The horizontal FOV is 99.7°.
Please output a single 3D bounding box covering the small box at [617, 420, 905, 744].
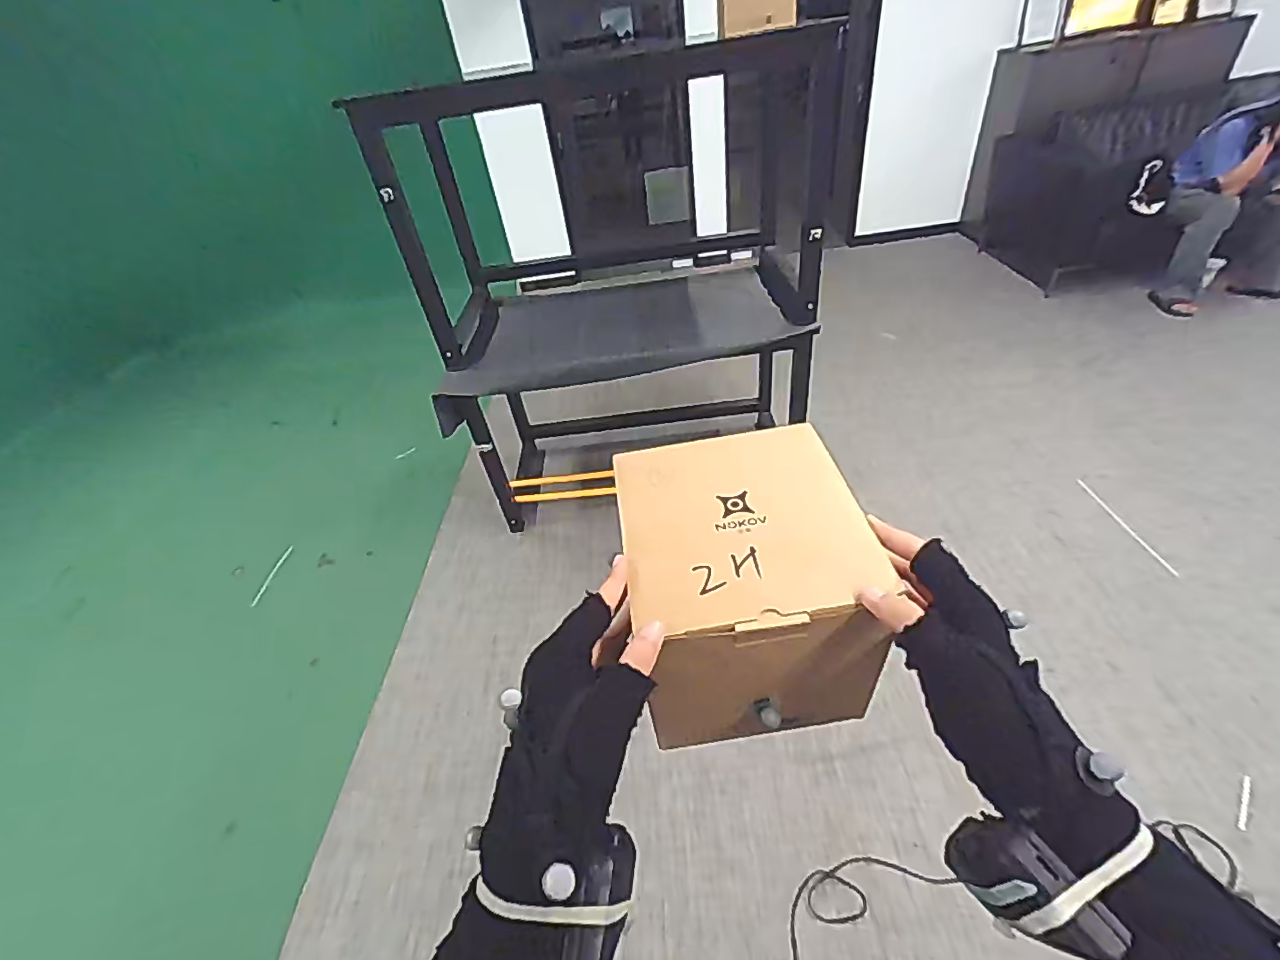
[{"bbox_3d":[0.077,0.079,0.429,0.168,0.176,0.179,-10,42,1],"label":"small box"}]
